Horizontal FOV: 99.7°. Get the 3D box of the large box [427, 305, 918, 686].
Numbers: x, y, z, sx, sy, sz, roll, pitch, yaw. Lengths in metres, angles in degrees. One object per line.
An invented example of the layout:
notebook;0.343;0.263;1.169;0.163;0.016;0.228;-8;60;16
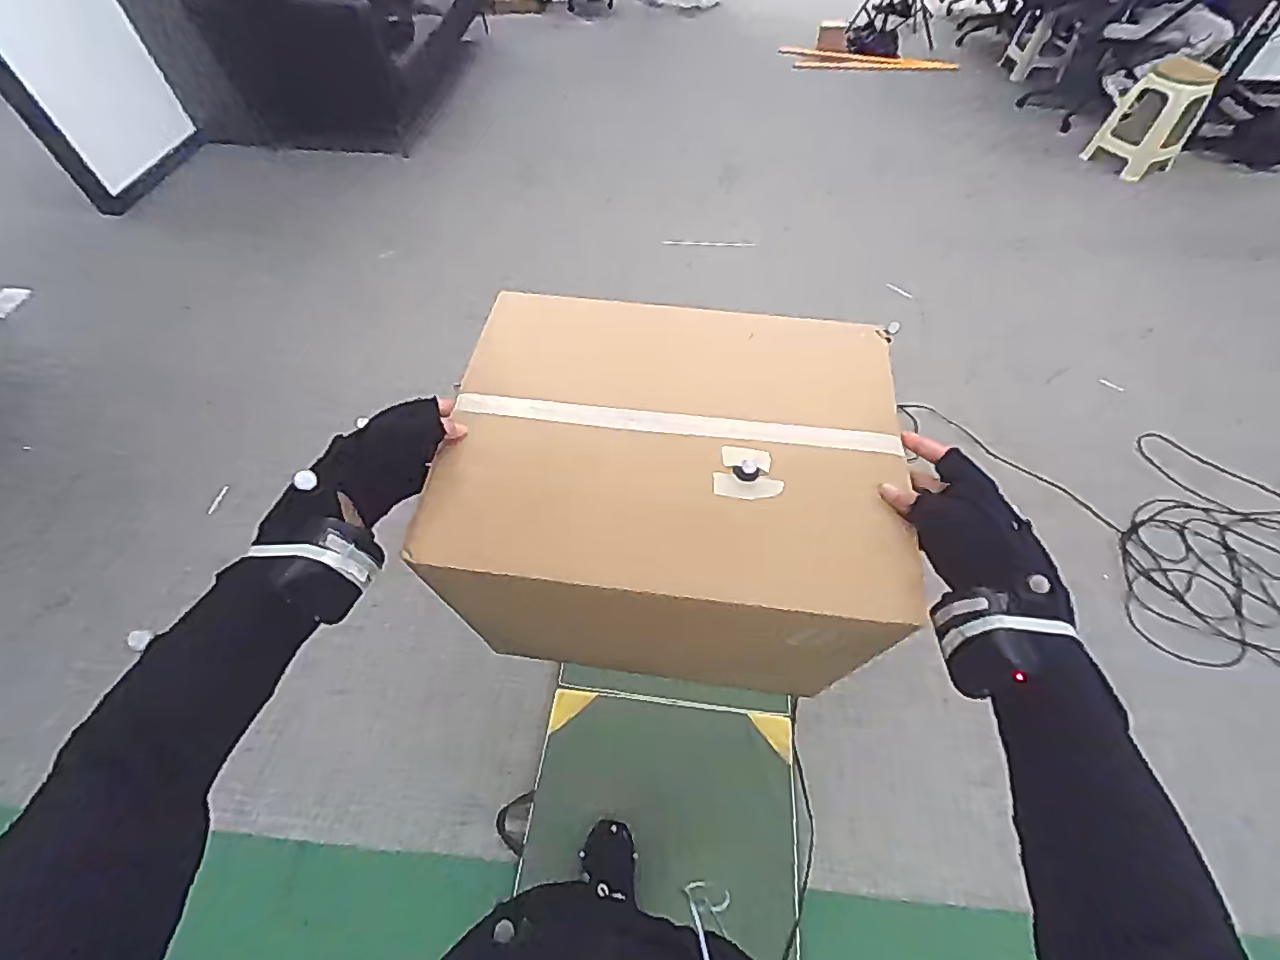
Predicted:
large box;0.034;0.033;0.632;0.408;0.320;0.320;7;60;3
